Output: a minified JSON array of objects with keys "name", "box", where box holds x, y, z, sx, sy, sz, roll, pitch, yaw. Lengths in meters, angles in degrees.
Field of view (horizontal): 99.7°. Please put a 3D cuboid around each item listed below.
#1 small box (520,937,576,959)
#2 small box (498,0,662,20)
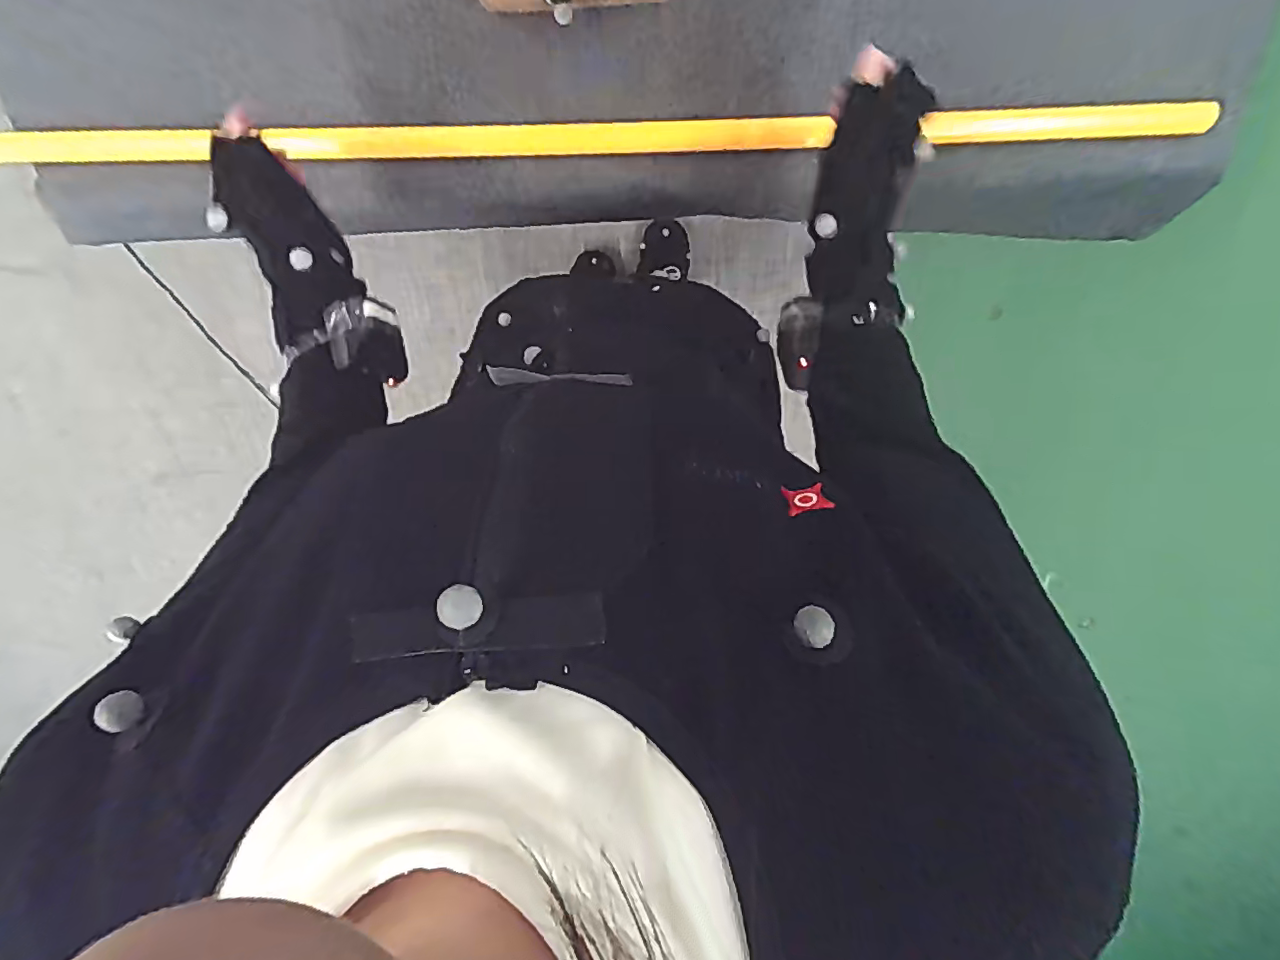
[{"name":"small box","box":[-0.314,1.690,1.830,0.168,0.176,0.179,-8,118,3]},{"name":"small box","box":[-0.061,-0.477,0.394,0.168,0.176,0.179,-3,117,4]}]
